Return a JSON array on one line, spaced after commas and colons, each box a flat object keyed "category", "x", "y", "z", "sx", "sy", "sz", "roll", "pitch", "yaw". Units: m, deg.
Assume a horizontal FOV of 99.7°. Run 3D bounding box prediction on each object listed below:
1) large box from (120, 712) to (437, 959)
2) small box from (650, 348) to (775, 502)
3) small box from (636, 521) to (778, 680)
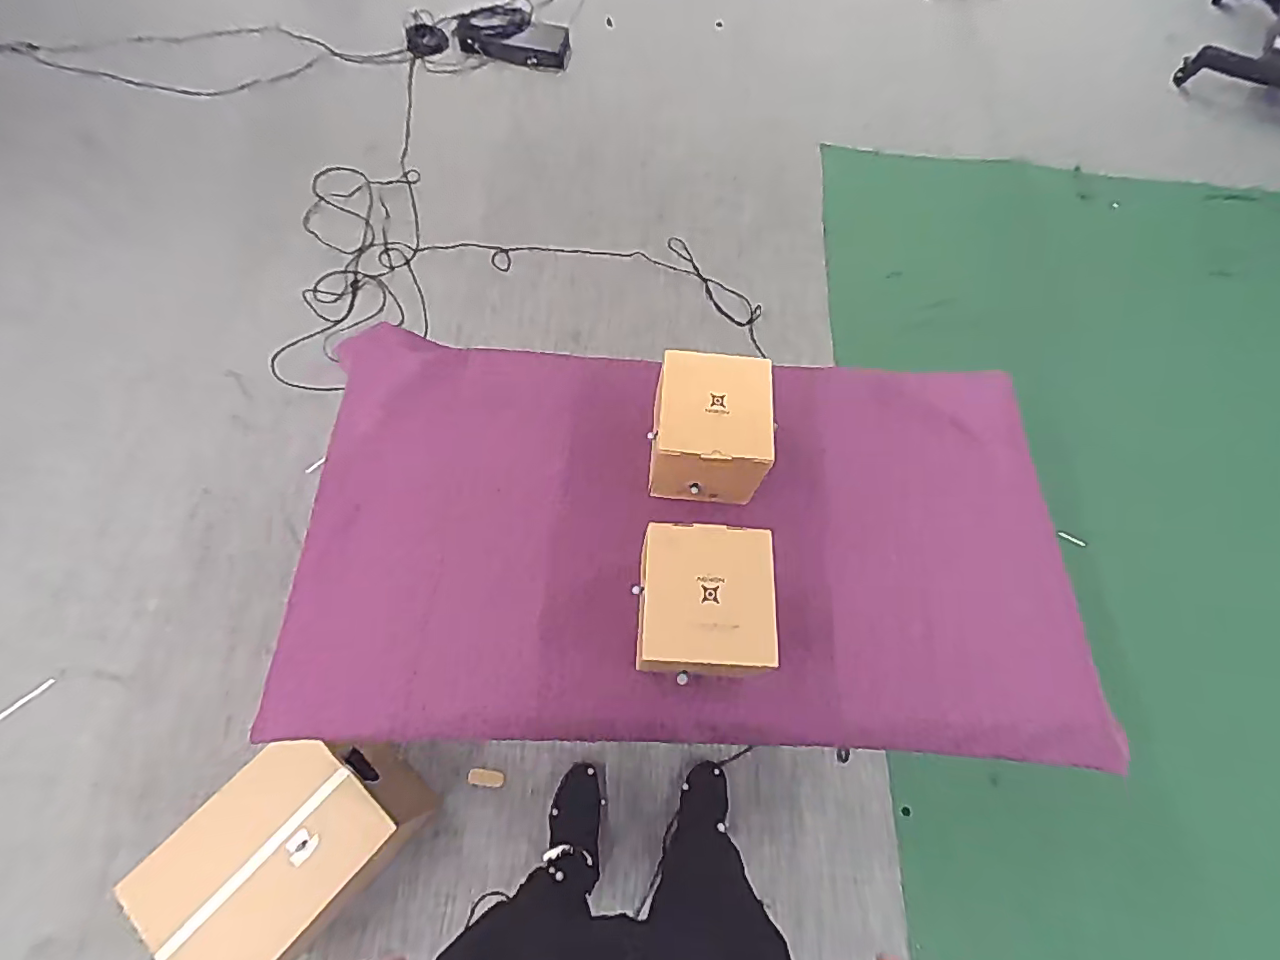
[{"category": "large box", "x": -0.725, "y": 0.770, "z": 1.158, "sx": 0.320, "sy": 0.320, "sz": 0.408, "roll": 40, "pitch": 70, "yaw": 12}, {"category": "small box", "x": 0.107, "y": -0.080, "z": 0.850, "sx": 0.168, "sy": 0.176, "sz": 0.179, "roll": 5, "pitch": 68, "yaw": -1}, {"category": "small box", "x": 0.083, "y": 0.170, "z": 0.739, "sx": 0.168, "sy": 0.176, "sz": 0.179, "roll": 4, "pitch": 66, "yaw": 0}]
